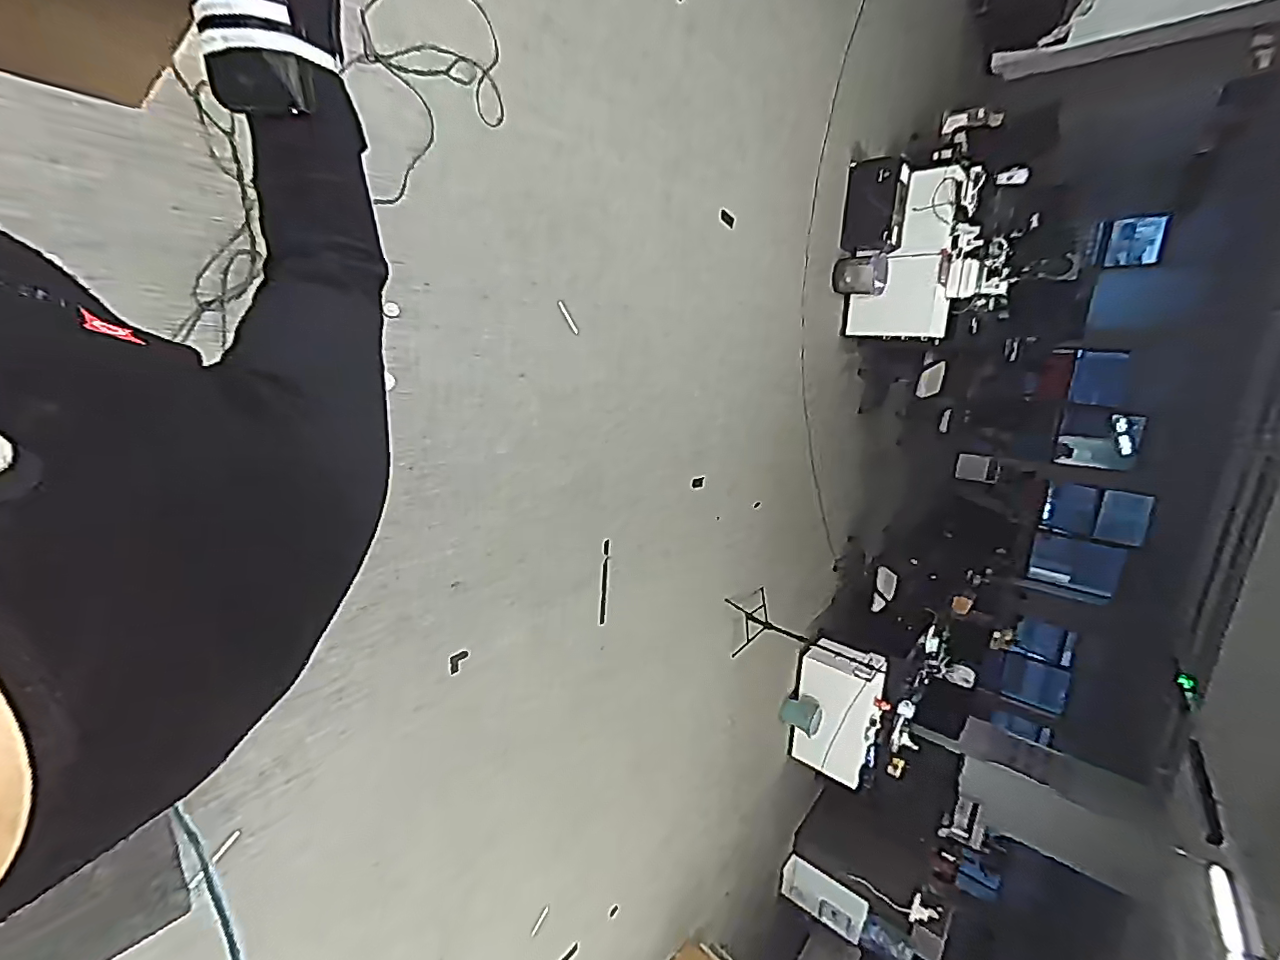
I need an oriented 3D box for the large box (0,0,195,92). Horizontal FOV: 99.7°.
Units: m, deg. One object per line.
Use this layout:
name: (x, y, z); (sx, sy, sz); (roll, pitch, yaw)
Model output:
large box: (-0.483, -0.458, 0.238); (0.408, 0.320, 0.320); (-15, 108, -50)
